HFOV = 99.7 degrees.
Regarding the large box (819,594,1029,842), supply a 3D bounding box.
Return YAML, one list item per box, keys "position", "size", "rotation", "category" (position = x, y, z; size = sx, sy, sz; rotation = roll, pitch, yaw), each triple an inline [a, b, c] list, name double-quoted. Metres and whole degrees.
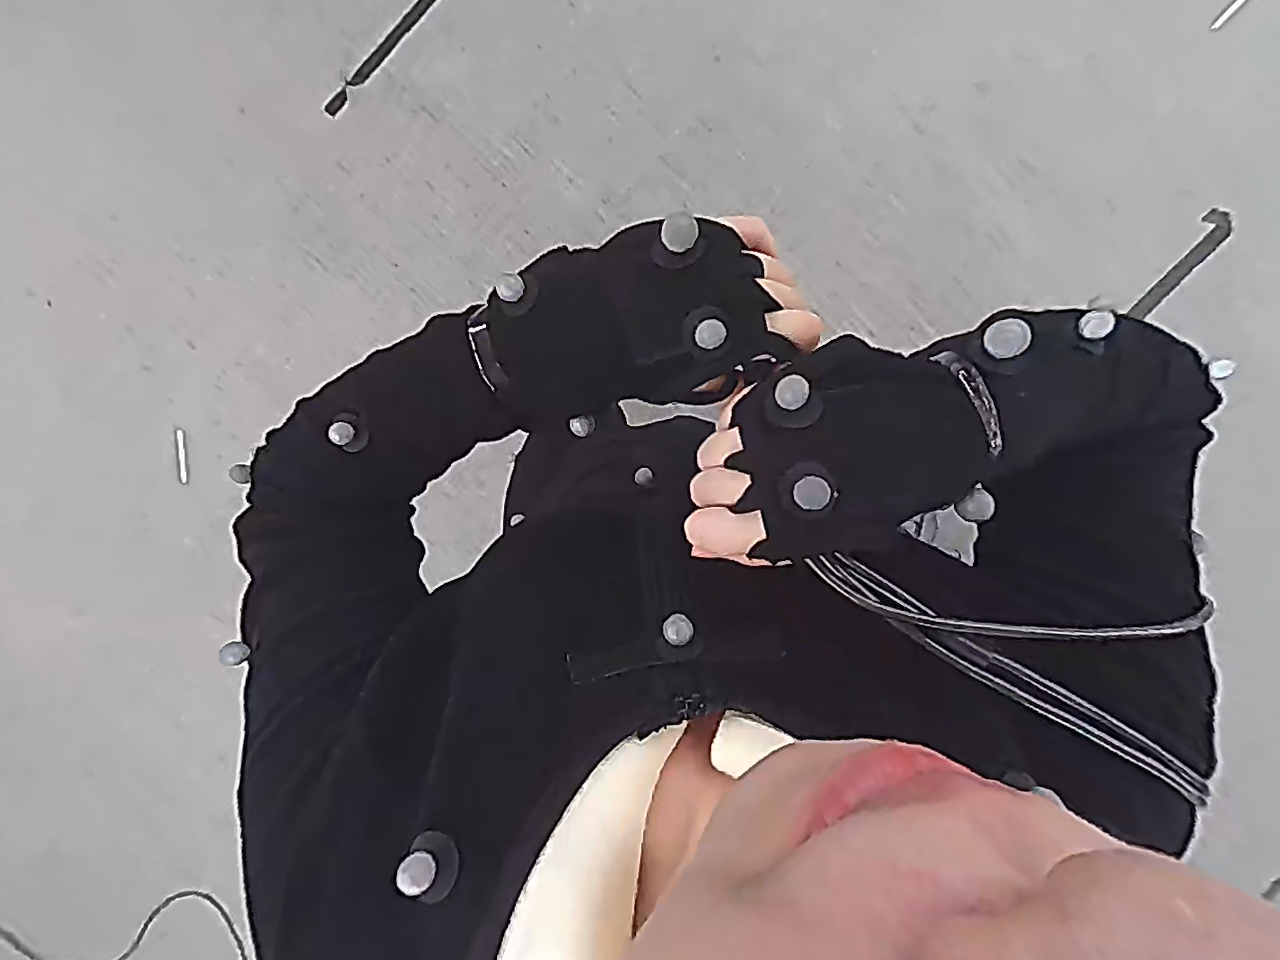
- position: [0.649, 0.534, 1.277]
  size: [0.320, 0.320, 0.408]
  rotation: [-10, 100, -1]
  category: "large box"
